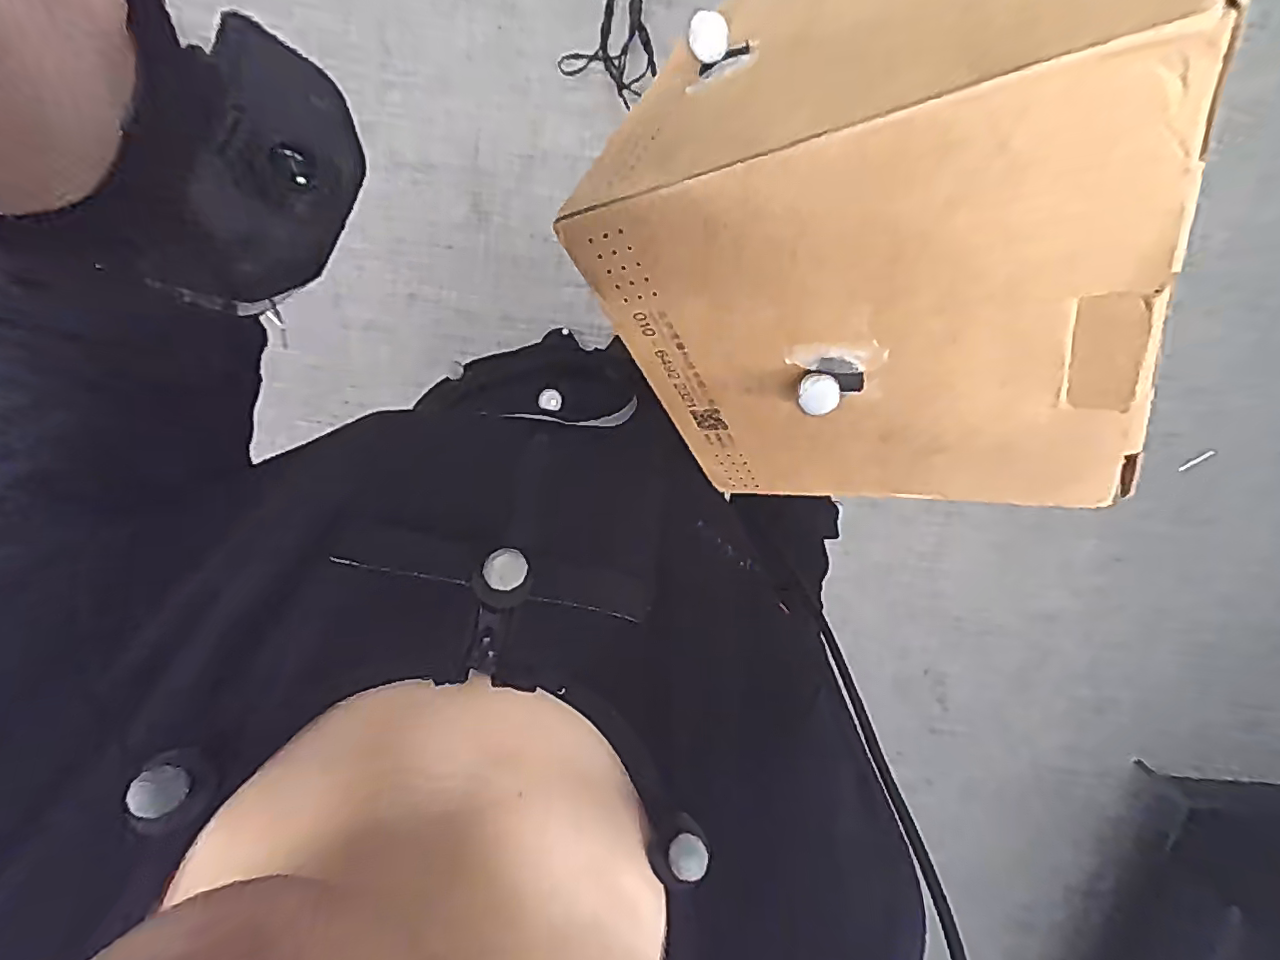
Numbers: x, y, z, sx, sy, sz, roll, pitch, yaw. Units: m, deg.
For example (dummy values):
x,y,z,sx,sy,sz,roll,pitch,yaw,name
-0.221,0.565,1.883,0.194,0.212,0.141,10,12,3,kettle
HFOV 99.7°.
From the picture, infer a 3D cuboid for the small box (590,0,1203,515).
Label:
x,y,z,sx,sy,sz,roll,pitch,yaw,name
0.102,-0.104,0.237,0.176,0.179,0.168,2,146,35,small box
